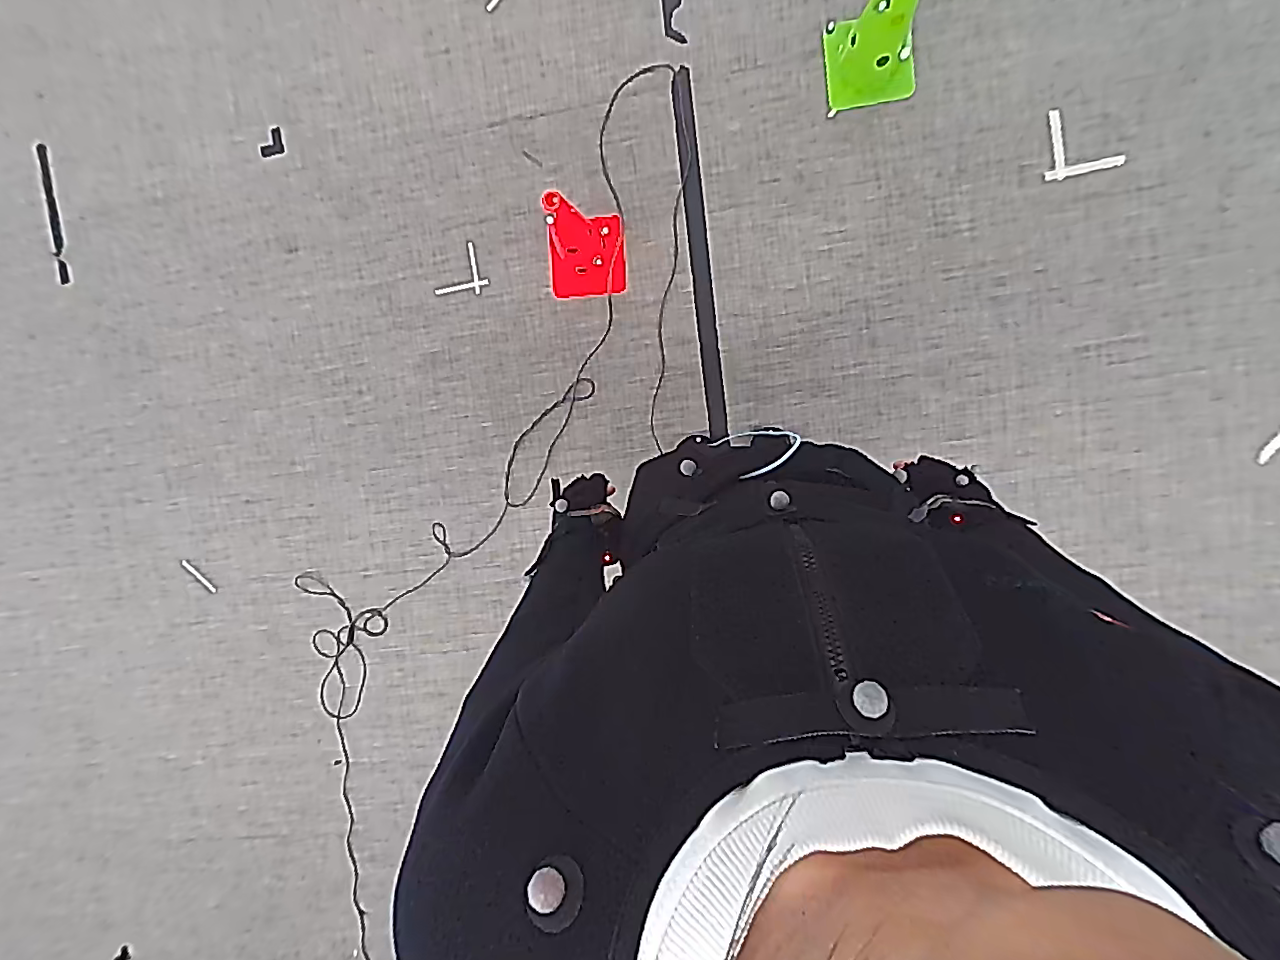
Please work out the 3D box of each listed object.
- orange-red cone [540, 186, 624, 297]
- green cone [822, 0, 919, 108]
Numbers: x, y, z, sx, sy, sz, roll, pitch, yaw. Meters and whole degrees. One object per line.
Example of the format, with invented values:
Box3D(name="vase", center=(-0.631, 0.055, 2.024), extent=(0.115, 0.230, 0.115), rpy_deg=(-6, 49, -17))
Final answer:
Box3D(name="orange-red cone", center=(-0.161, -0.571, 1.239), extent=(0.199, 0.360, 0.198), rpy_deg=(-2, 93, 8))
Box3D(name="green cone", center=(0.528, -0.989, 1.120), extent=(0.202, 0.368, 0.200), rpy_deg=(-7, 94, 6))
